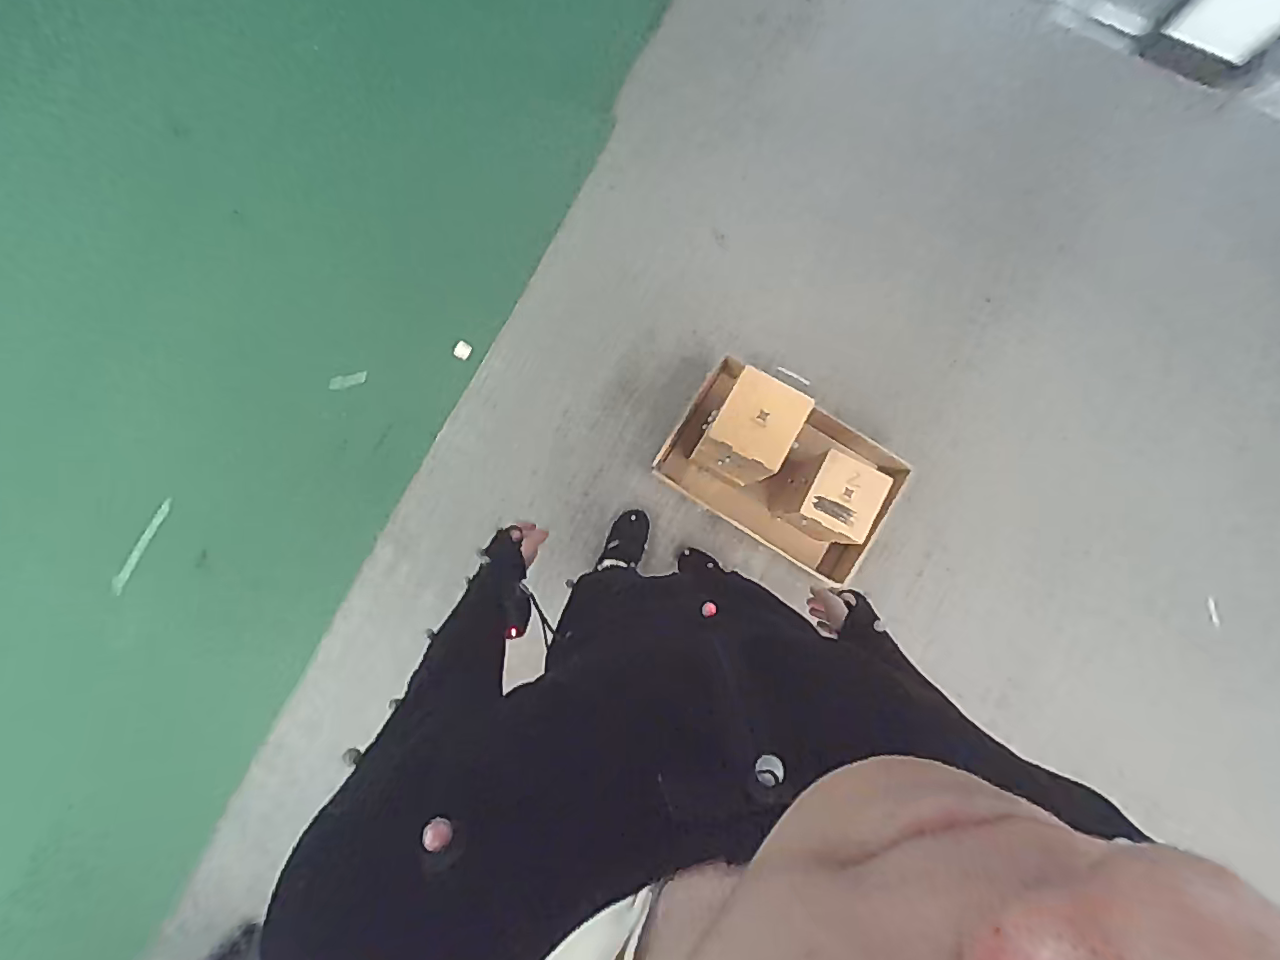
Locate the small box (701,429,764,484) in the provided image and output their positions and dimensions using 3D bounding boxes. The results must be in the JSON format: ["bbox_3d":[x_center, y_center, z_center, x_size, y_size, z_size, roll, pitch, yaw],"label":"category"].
[{"bbox_3d":[0.262,-0.109,1.350,0.168,0.176,0.179,31,85,5],"label":"small box"}]

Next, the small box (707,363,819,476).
[{"bbox_3d":[0.260,-0.124,1.189,0.168,0.176,0.179,29,87,4],"label":"small box"}]
